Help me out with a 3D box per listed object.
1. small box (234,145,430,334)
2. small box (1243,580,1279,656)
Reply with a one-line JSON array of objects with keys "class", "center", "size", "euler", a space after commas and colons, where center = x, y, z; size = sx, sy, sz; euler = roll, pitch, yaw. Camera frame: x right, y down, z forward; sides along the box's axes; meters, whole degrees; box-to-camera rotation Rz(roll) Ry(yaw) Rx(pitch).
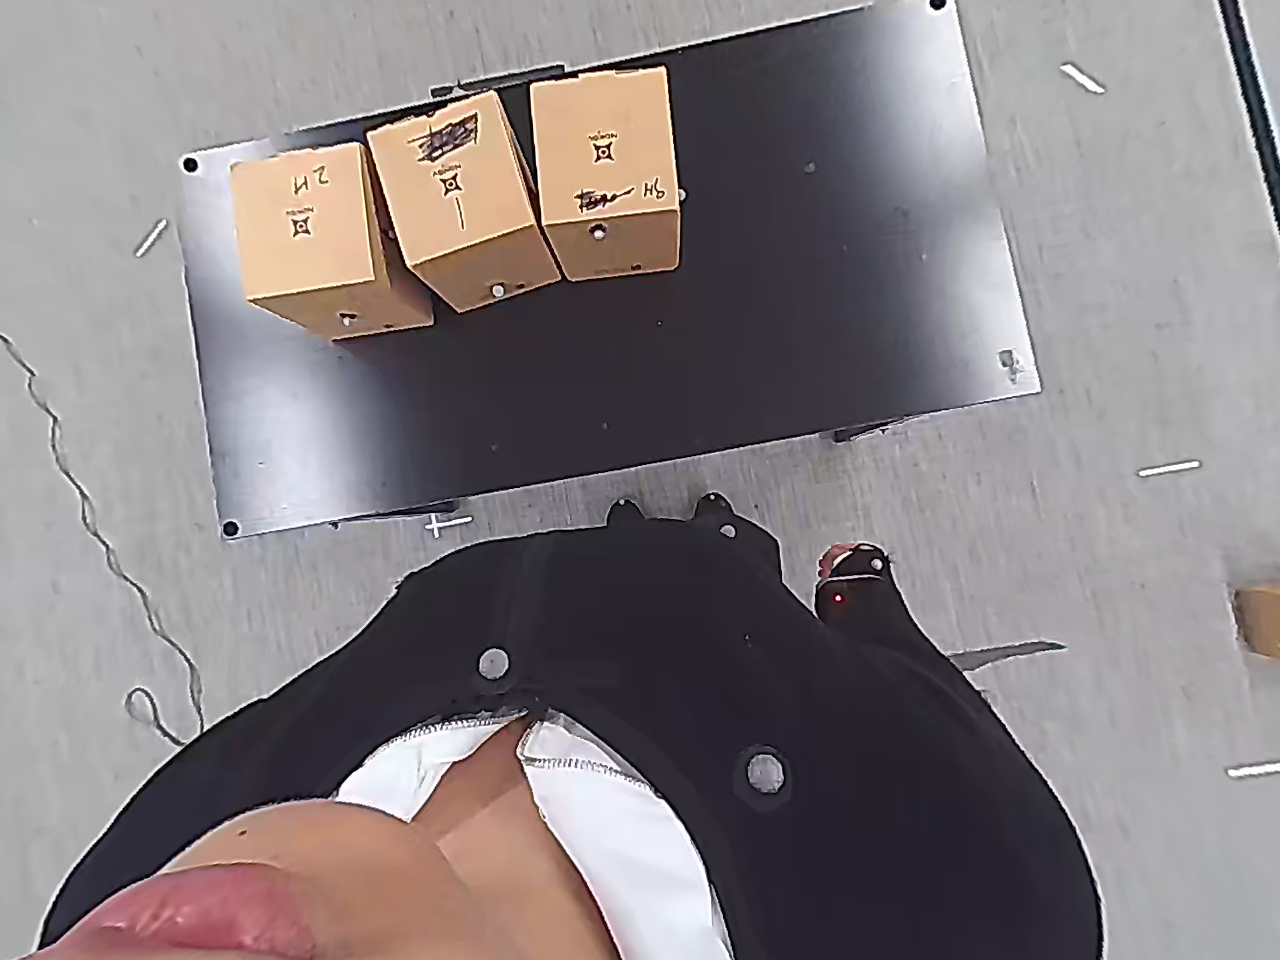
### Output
[{"class": "small box", "center": [-0.404, -0.310, 0.737], "size": [0.168, 0.176, 0.179], "euler": [-8, 87, 2]}, {"class": "small box", "center": [1.644, 0.341, 1.307], "size": [0.168, 0.176, 0.179], "euler": [-11, 86, 2]}]
